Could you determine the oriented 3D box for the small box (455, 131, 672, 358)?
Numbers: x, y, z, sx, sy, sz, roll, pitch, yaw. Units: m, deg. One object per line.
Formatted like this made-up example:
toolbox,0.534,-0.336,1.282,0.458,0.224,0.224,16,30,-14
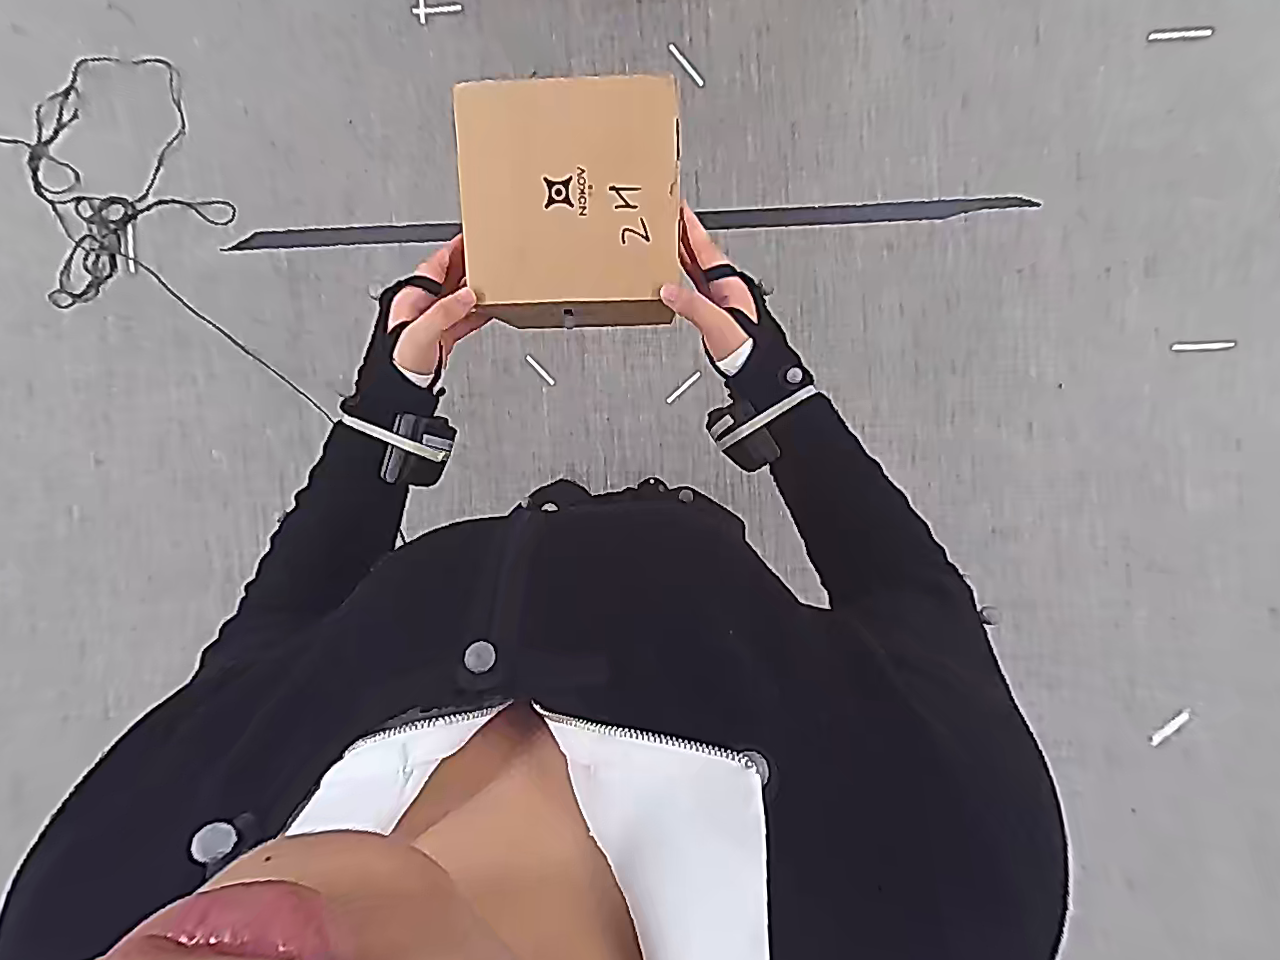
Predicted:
small box,-0.059,-0.207,0.519,0.179,0.176,0.168,-1,100,1
